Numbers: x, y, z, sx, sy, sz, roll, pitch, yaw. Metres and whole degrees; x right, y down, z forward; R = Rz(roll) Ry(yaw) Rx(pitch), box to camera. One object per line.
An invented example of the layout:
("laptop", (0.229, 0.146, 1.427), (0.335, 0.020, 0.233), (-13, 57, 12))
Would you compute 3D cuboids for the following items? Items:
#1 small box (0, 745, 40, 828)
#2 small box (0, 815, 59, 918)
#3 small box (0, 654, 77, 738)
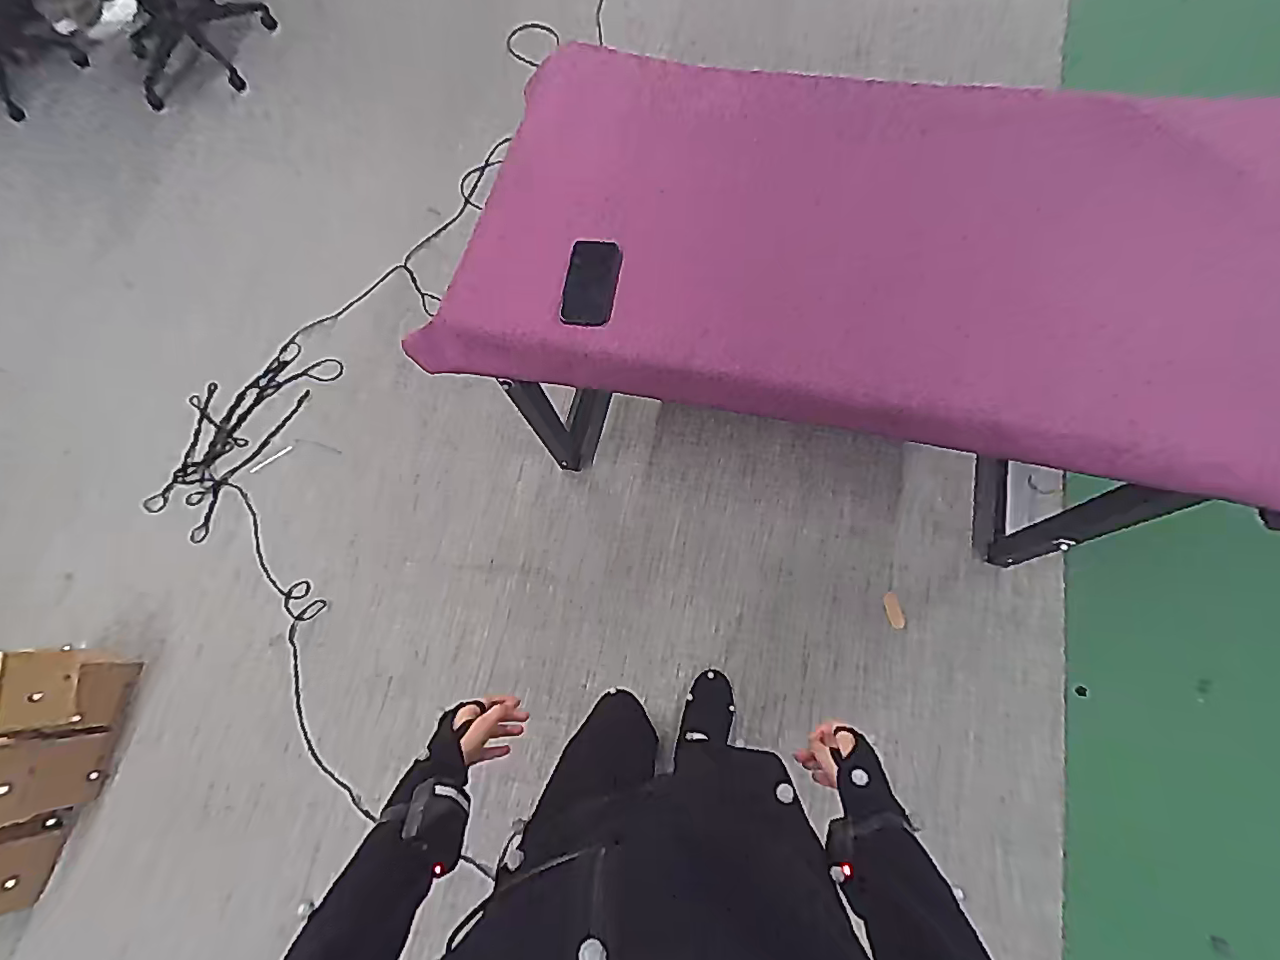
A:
("small box", (-1.493, 0.684, 1.180), (0.179, 0.176, 0.168), (-6, 71, 5))
("small box", (-1.556, 0.923, 1.277), (0.168, 0.176, 0.179), (10, 73, 10))
("small box", (-1.461, 0.498, 1.238), (0.179, 0.176, 0.168), (-14, 70, 3))
